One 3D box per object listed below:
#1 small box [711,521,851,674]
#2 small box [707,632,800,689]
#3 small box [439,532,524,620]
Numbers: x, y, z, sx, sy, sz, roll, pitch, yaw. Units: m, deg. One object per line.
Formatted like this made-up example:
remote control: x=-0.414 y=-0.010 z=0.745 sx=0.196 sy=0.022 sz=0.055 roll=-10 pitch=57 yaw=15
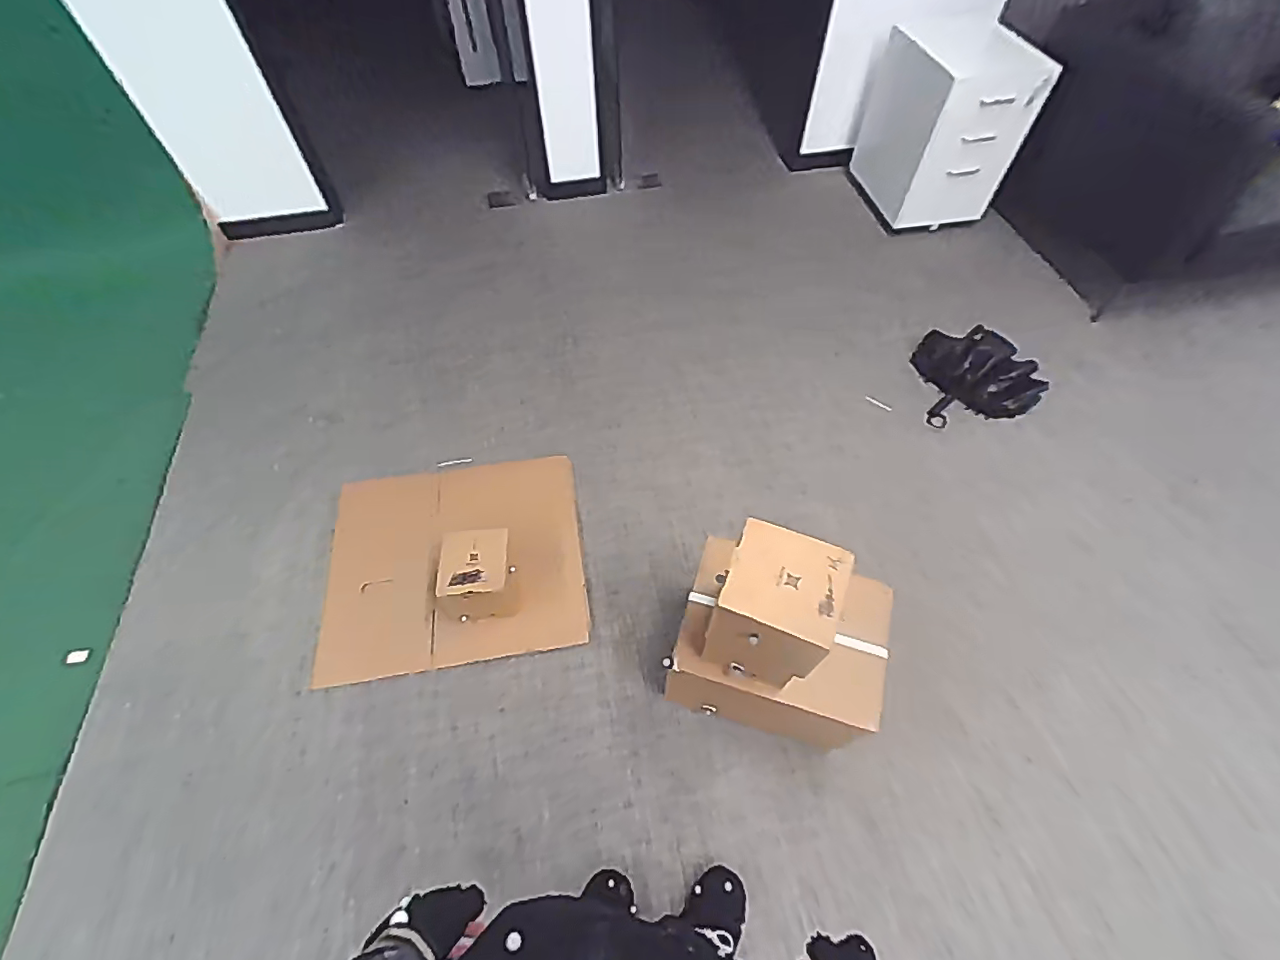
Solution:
small box: x=0.224 y=0.198 z=0.889 sx=0.179 sy=0.176 sz=0.168 roll=17 pitch=57 yaw=12
small box: x=0.229 y=0.274 z=1.032 sx=0.168 sy=0.176 sz=0.179 roll=16 pitch=60 yaw=12
small box: x=-0.401 y=0.254 z=1.400 sx=0.168 sy=0.176 sz=0.179 roll=-4 pitch=55 yaw=-2
